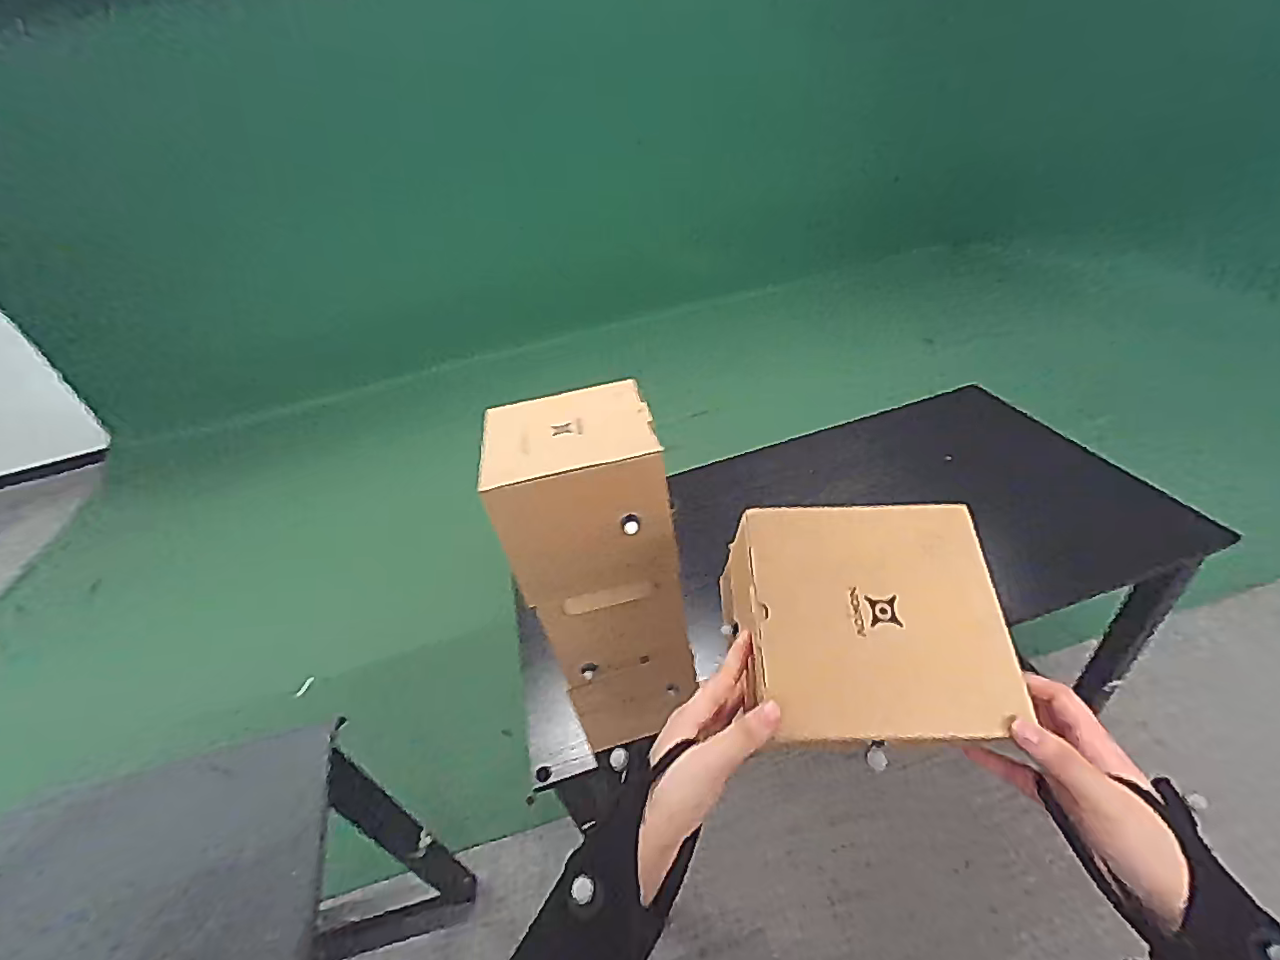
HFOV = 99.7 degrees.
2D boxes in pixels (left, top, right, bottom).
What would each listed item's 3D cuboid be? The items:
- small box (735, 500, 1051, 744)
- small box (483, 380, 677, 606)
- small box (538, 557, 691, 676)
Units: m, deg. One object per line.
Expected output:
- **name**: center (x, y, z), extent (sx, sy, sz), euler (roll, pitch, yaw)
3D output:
- **small box**: center (0.182, 0.126, 0.456), extent (0.179, 0.176, 0.168), euler (-2, 62, 2)
- **small box**: center (-0.060, 0.013, 0.607), extent (0.179, 0.176, 0.168), euler (-14, 36, -3)
- **small box**: center (-0.036, 0.134, 0.713), extent (0.168, 0.176, 0.179), euler (-14, 37, -4)
